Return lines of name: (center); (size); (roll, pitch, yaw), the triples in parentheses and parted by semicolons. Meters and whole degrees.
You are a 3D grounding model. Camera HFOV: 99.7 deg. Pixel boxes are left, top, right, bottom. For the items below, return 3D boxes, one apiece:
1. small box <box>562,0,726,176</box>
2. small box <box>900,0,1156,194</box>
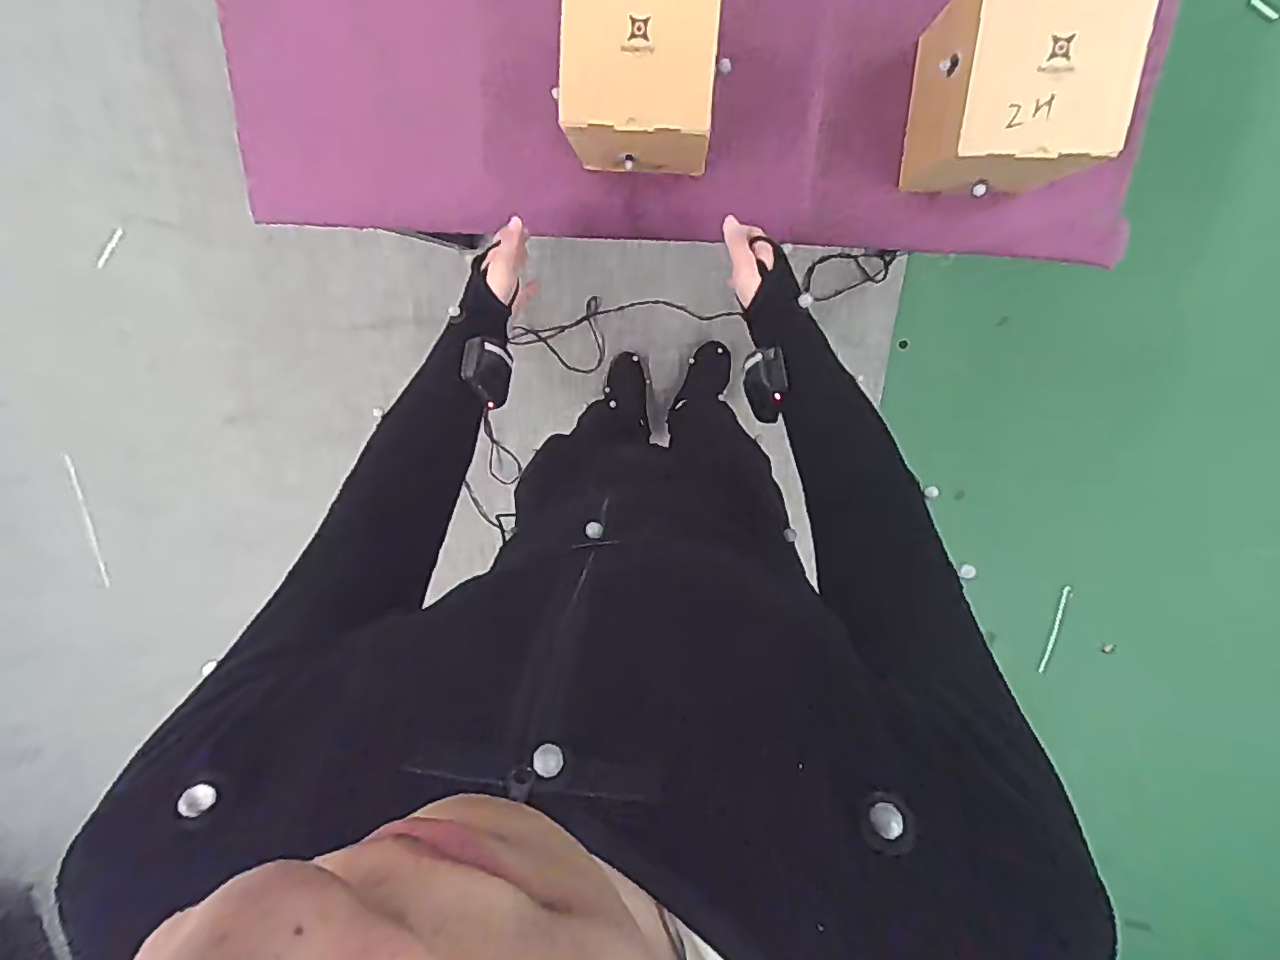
small box: (0.005, -0.480, 0.636); (0.168, 0.176, 0.179); (4, 108, 1)
small box: (0.423, -0.444, 0.622); (0.168, 0.176, 0.179); (3, 109, 4)
